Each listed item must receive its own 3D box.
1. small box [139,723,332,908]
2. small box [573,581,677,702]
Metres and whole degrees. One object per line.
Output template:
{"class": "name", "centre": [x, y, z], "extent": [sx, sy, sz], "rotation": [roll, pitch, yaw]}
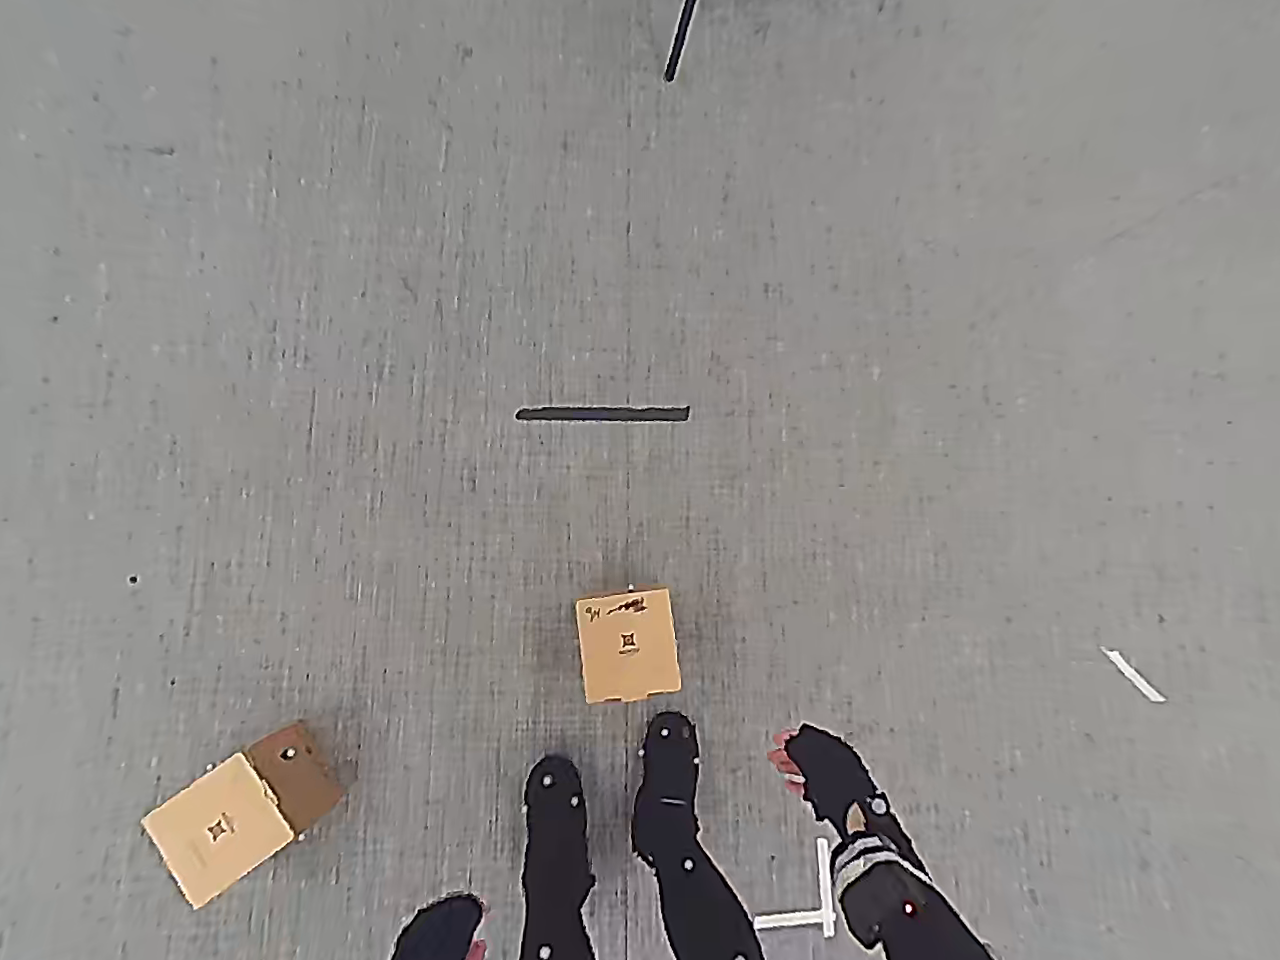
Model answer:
{"class": "small box", "centre": [-0.660, 0.547, 0.913], "extent": [0.179, 0.176, 0.168], "rotation": [-36, 85, -8]}
{"class": "small box", "centre": [-0.030, 0.288, 0.996], "extent": [0.168, 0.176, 0.179], "rotation": [-6, 83, -5]}
